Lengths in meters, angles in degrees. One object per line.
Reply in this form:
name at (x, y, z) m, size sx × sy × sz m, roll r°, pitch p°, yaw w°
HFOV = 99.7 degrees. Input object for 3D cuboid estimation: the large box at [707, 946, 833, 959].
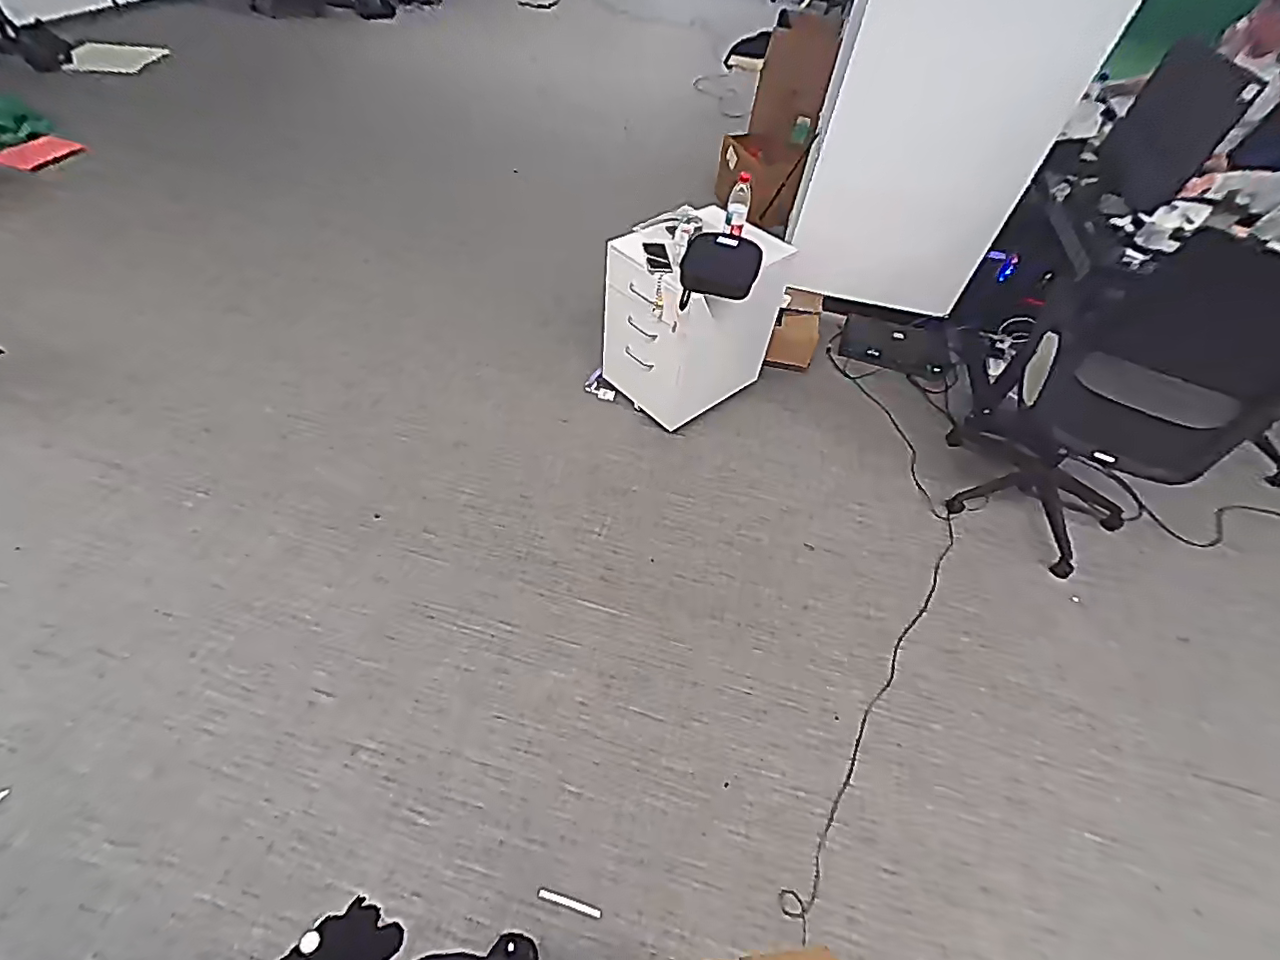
large box at (0.175, 0.846, 0.613) m, size 0.320 × 0.408 × 0.320 m, roll -2°, pitch 79°, yaw -9°
